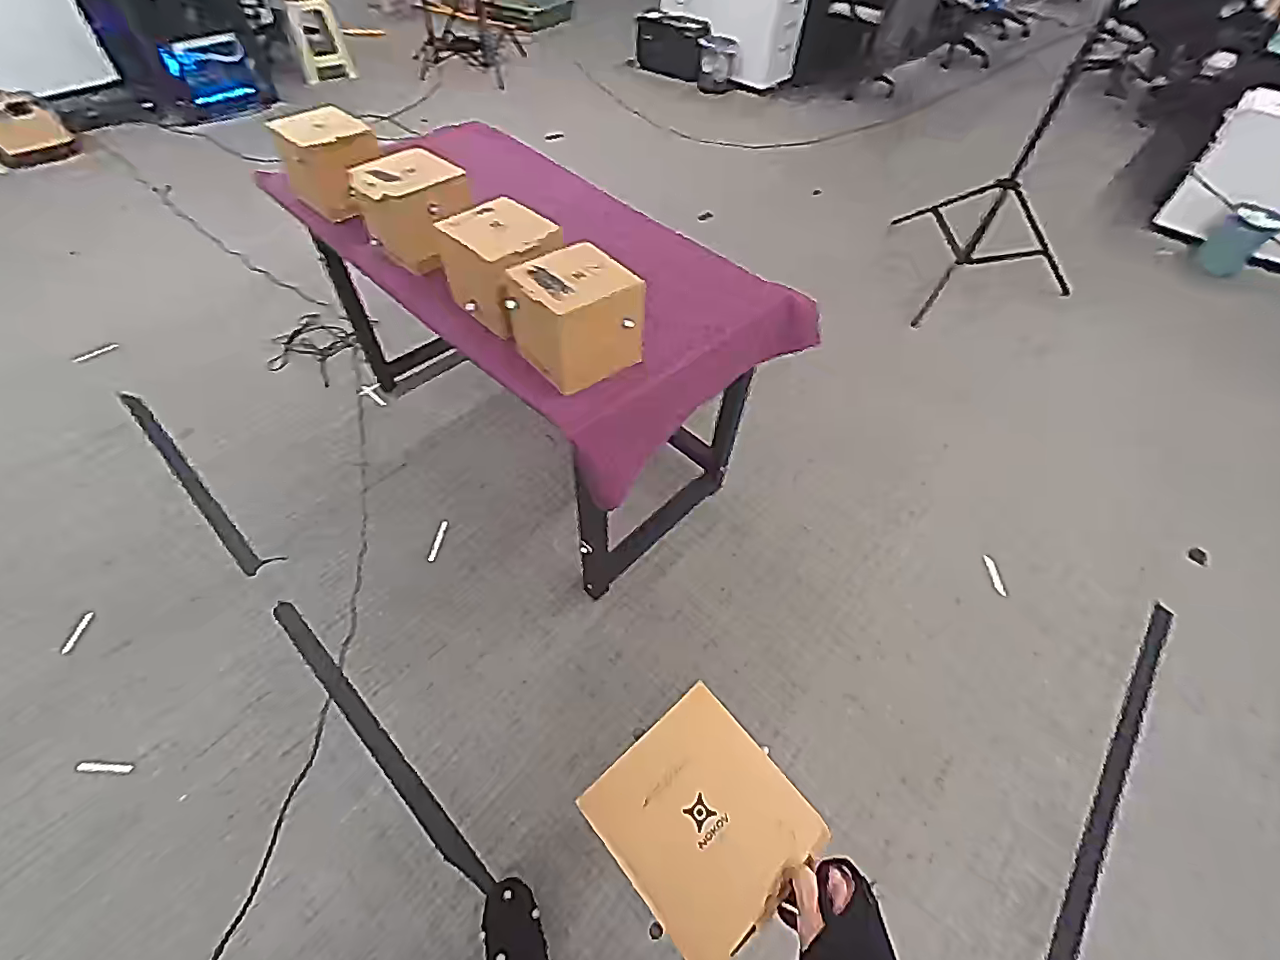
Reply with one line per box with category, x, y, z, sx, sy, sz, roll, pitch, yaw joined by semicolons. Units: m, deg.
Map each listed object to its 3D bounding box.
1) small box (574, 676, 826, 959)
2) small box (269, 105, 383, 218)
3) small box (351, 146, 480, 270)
small box;0.053;0.340;0.563;0.168;0.176;0.179;-37;66;-22
small box;-0.723;-0.753;1.282;0.179;0.176;0.168;36;59;21
small box;-0.472;-0.582;1.165;0.168;0.176;0.179;36;58;21
